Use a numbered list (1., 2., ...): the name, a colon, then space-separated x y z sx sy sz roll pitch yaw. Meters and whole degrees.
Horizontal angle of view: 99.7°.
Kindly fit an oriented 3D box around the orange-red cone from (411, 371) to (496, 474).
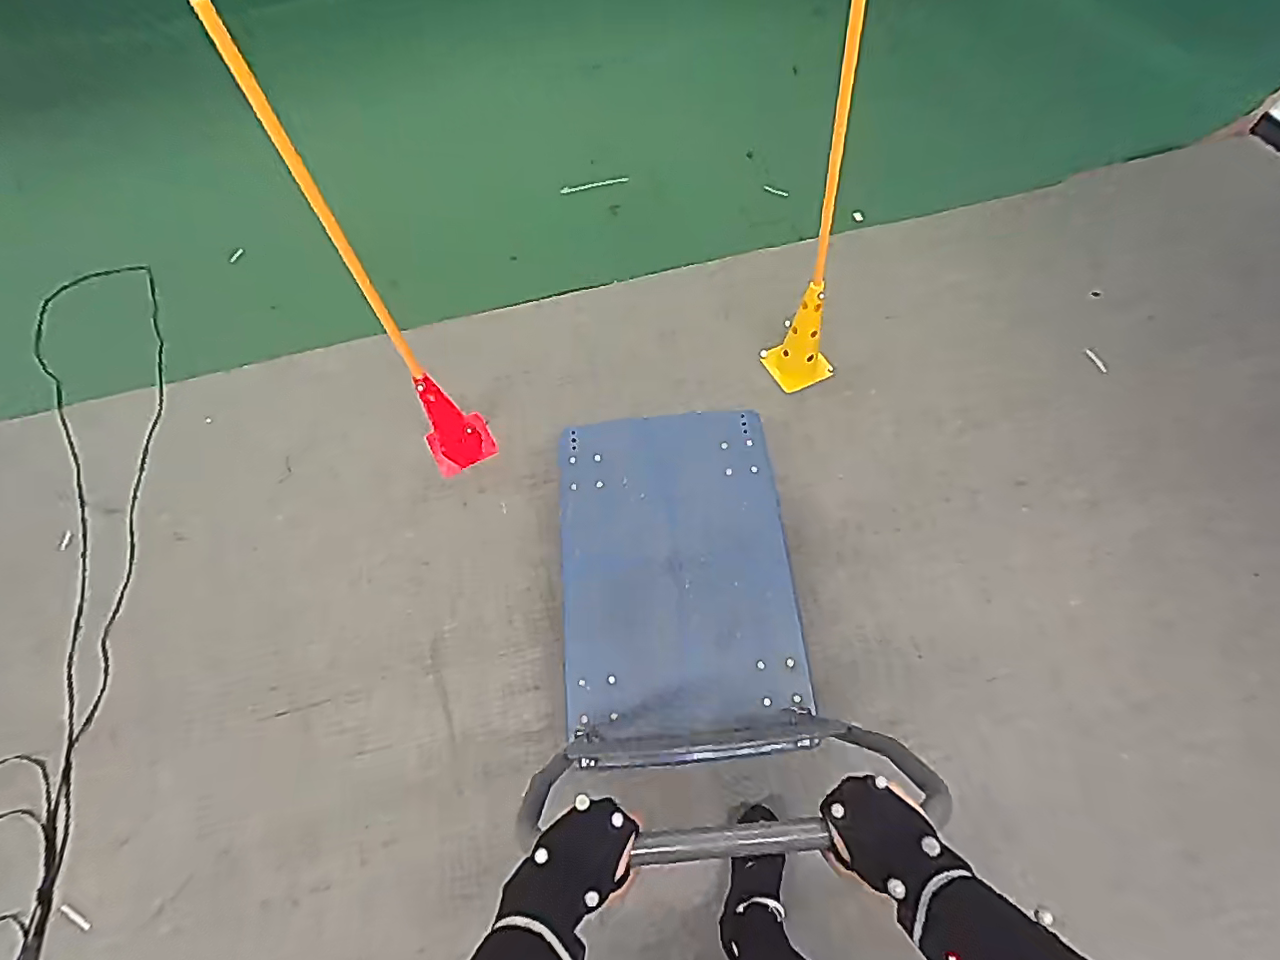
1. orange-red cone: -0.612 -0.205 1.664 0.199 0.360 0.198 -28 62 -10
